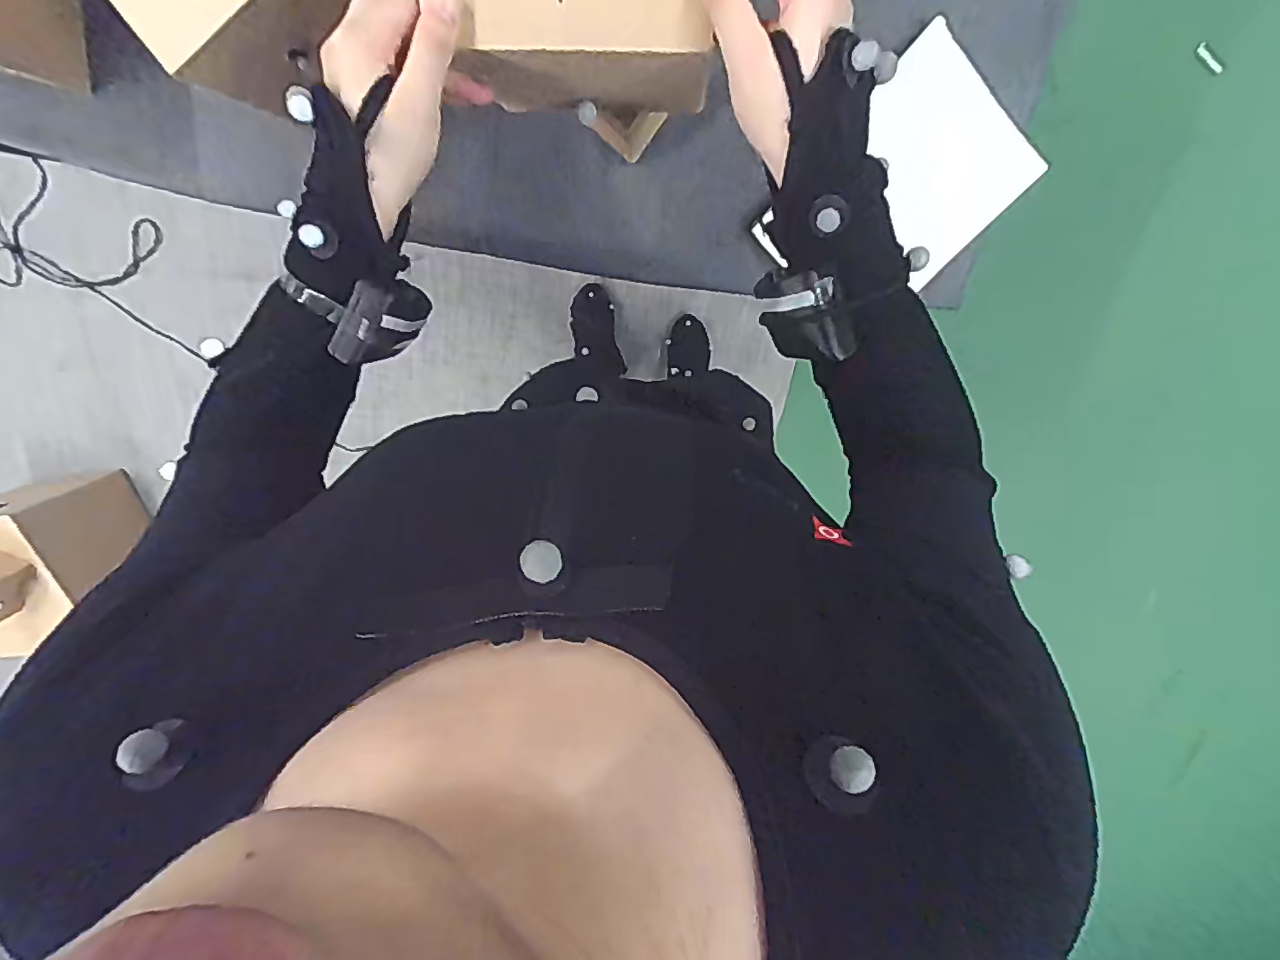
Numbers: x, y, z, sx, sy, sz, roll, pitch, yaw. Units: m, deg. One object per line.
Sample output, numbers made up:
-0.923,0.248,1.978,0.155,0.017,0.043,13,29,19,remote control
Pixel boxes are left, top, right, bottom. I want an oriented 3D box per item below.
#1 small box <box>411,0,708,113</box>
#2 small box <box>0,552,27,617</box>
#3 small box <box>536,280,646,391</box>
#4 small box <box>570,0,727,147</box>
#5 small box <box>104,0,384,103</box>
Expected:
-0.038,-0.353,0.340,0.168,0.176,0.179,3,116,3,small box
-1.638,0.260,1.284,0.179,0.176,0.168,28,110,-12,small box
-0.107,-0.347,1.297,0.179,0.168,0.176,-51,133,-6,small box
-0.030,-0.436,0.489,0.179,0.176,0.168,36,108,-12,small box
-0.372,-0.475,0.481,0.168,0.176,0.179,-30,109,12,small box
